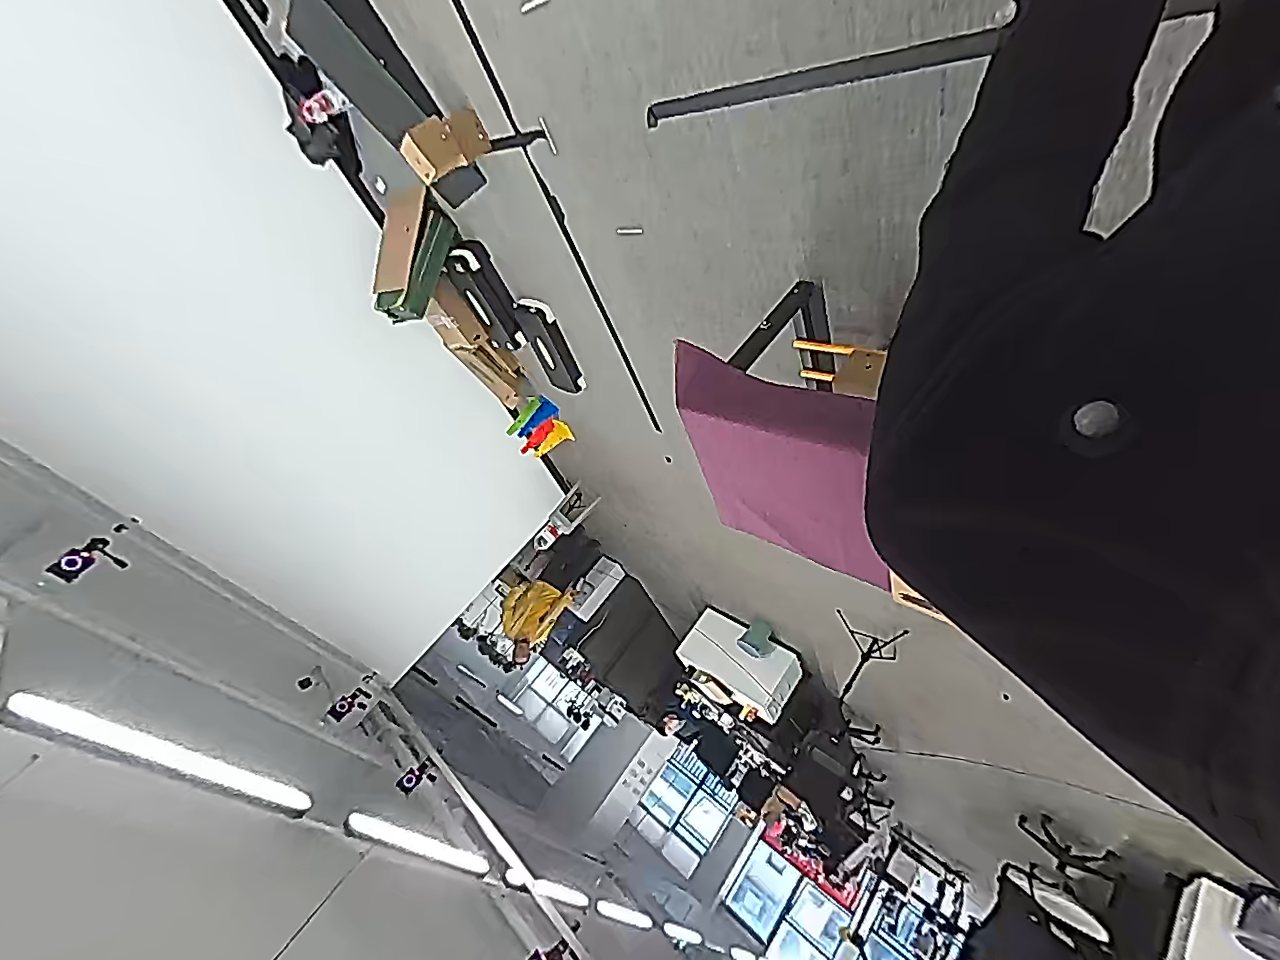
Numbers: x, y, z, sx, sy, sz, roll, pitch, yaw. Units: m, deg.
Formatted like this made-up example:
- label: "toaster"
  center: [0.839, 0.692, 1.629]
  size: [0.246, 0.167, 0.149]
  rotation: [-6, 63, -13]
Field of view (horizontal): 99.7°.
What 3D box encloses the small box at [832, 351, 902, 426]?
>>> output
- label: "small box"
  center: [0.782, -0.317, 1.854]
  size: [0.168, 0.176, 0.179]
  rotation: [23, 153, 40]
